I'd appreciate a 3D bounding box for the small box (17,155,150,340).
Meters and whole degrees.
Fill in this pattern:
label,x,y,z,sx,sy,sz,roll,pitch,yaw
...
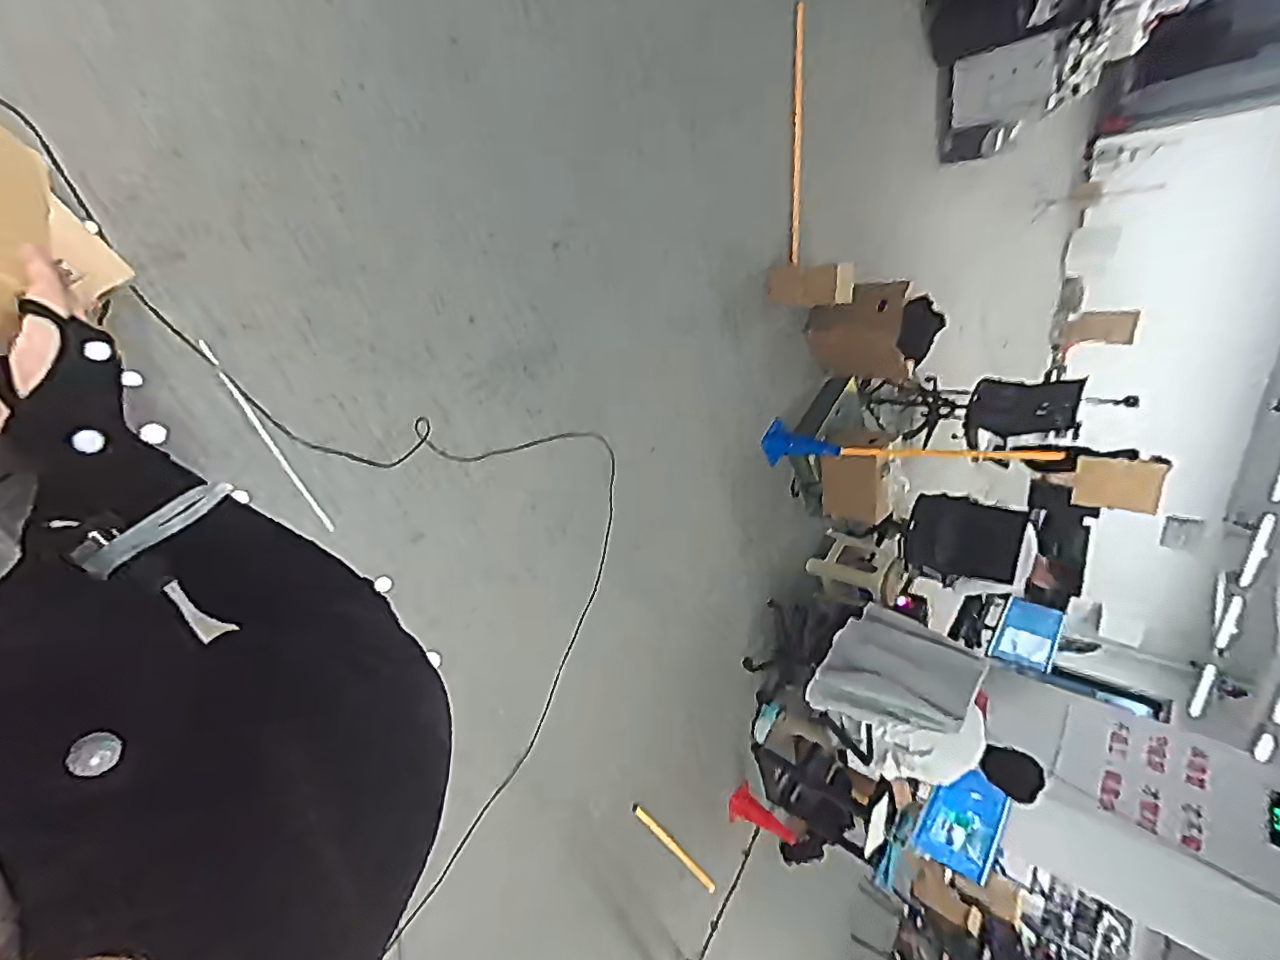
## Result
label,x,y,z,sx,sy,sz,roll,pitch,yaw
small box,-0.858,-0.320,0.770,0.168,0.176,0.179,-51,130,-24

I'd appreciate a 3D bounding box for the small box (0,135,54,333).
label,x,y,z,sx,sy,sz,roll,pitch,yaw
small box,-0.539,-0.179,0.338,0.179,0.176,0.168,-27,160,4
